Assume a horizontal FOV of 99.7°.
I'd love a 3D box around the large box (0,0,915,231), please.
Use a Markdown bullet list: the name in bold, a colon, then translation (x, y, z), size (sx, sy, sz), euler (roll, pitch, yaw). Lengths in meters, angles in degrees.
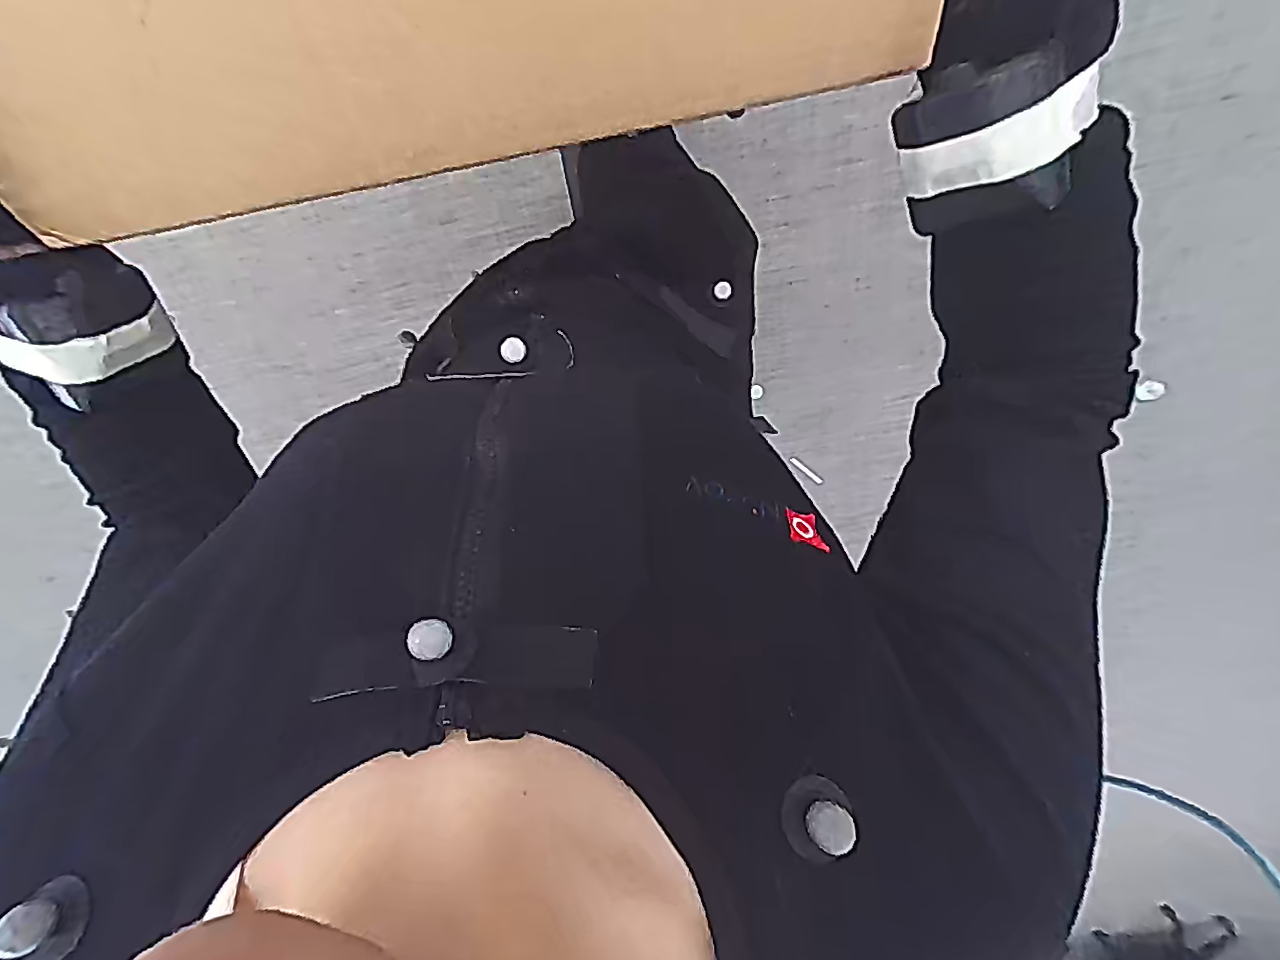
- **large box**: translation (-0.113, -0.362, 0.239), size (0.408, 0.320, 0.320), euler (-9, 136, 4)
